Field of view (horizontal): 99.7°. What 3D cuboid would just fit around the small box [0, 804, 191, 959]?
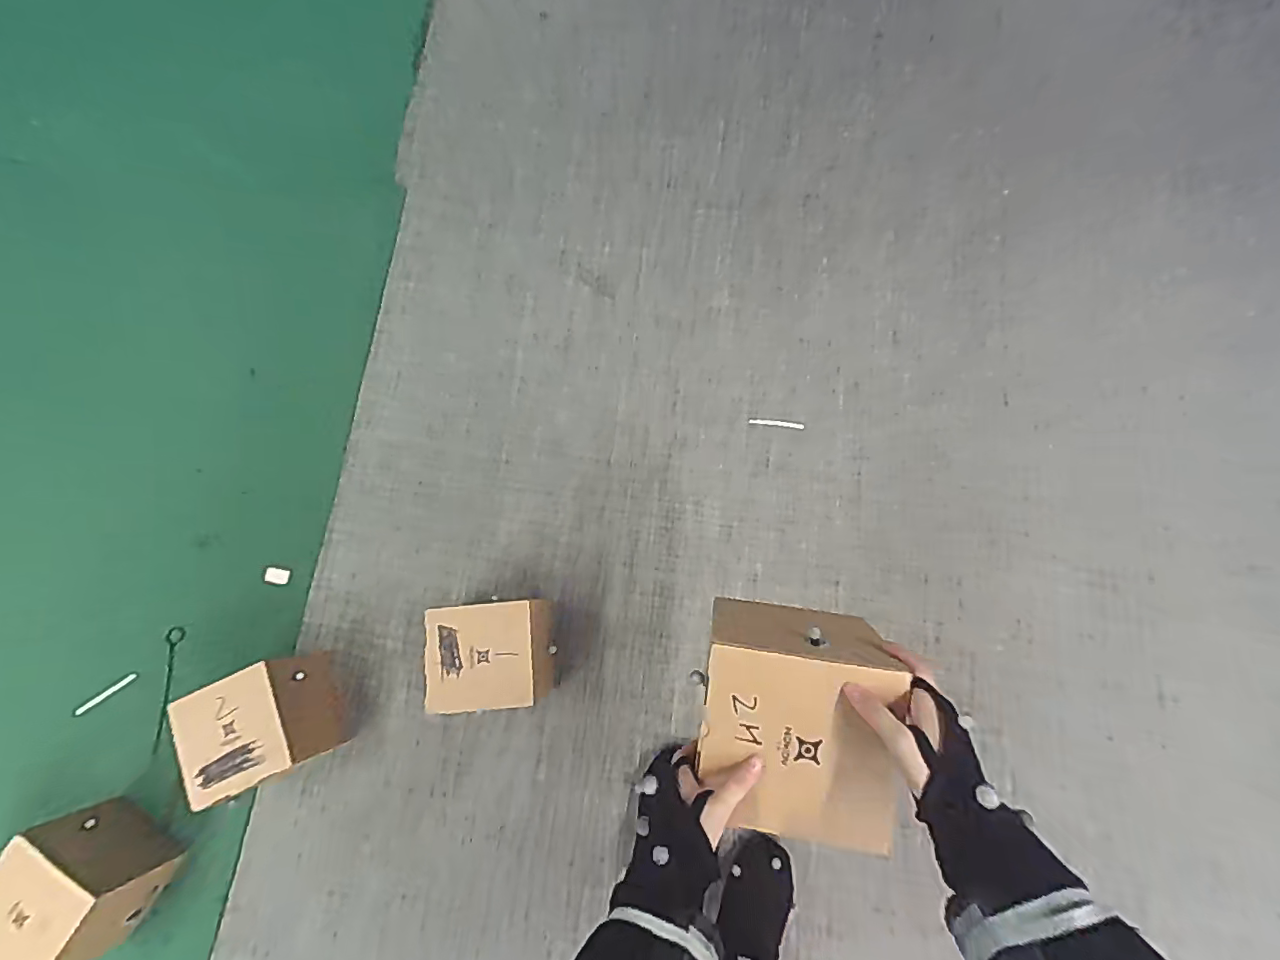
[{"bbox_3d":[-0.919,0.674,0.894,0.179,0.176,0.168,30,81,9],"label":"small box"}]

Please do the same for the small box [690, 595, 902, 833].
[{"bbox_3d":[0.154,0.229,0.577,0.179,0.176,0.168,6,92,10],"label":"small box"}]

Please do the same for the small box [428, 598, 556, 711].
[{"bbox_3d":[-0.252,0.299,0.946,0.179,0.176,0.168,-5,77,1],"label":"small box"}]
